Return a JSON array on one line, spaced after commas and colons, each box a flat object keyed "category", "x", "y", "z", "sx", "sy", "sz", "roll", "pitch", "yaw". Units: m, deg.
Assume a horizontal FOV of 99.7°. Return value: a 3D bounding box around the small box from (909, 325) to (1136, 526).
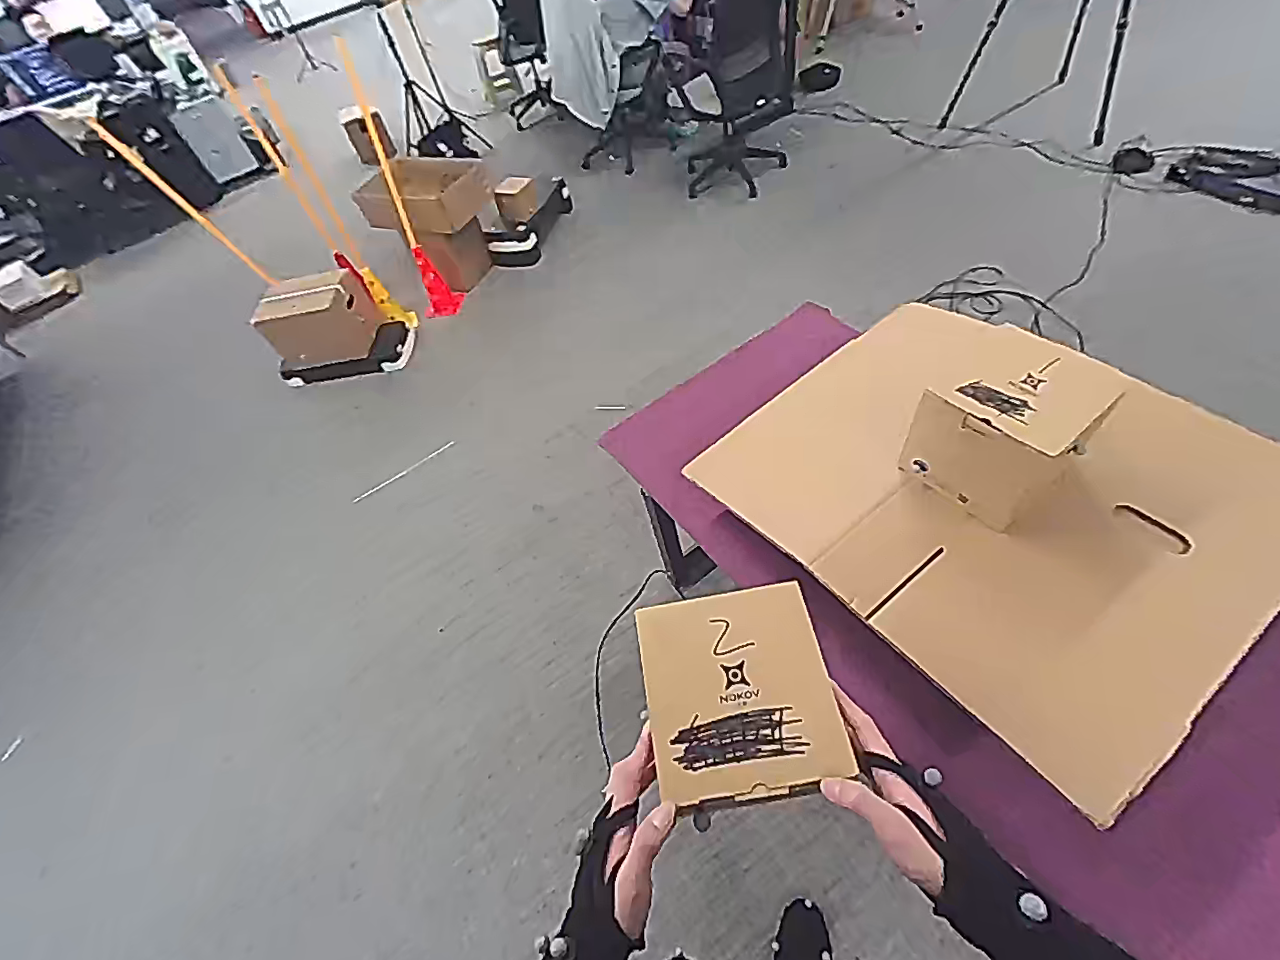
[{"category": "small box", "x": 0.494, "y": -0.069, "z": 0.732, "sx": 0.179, "sy": 0.176, "sz": 0.168, "roll": -36, "pitch": 56, "yaw": -15}]
